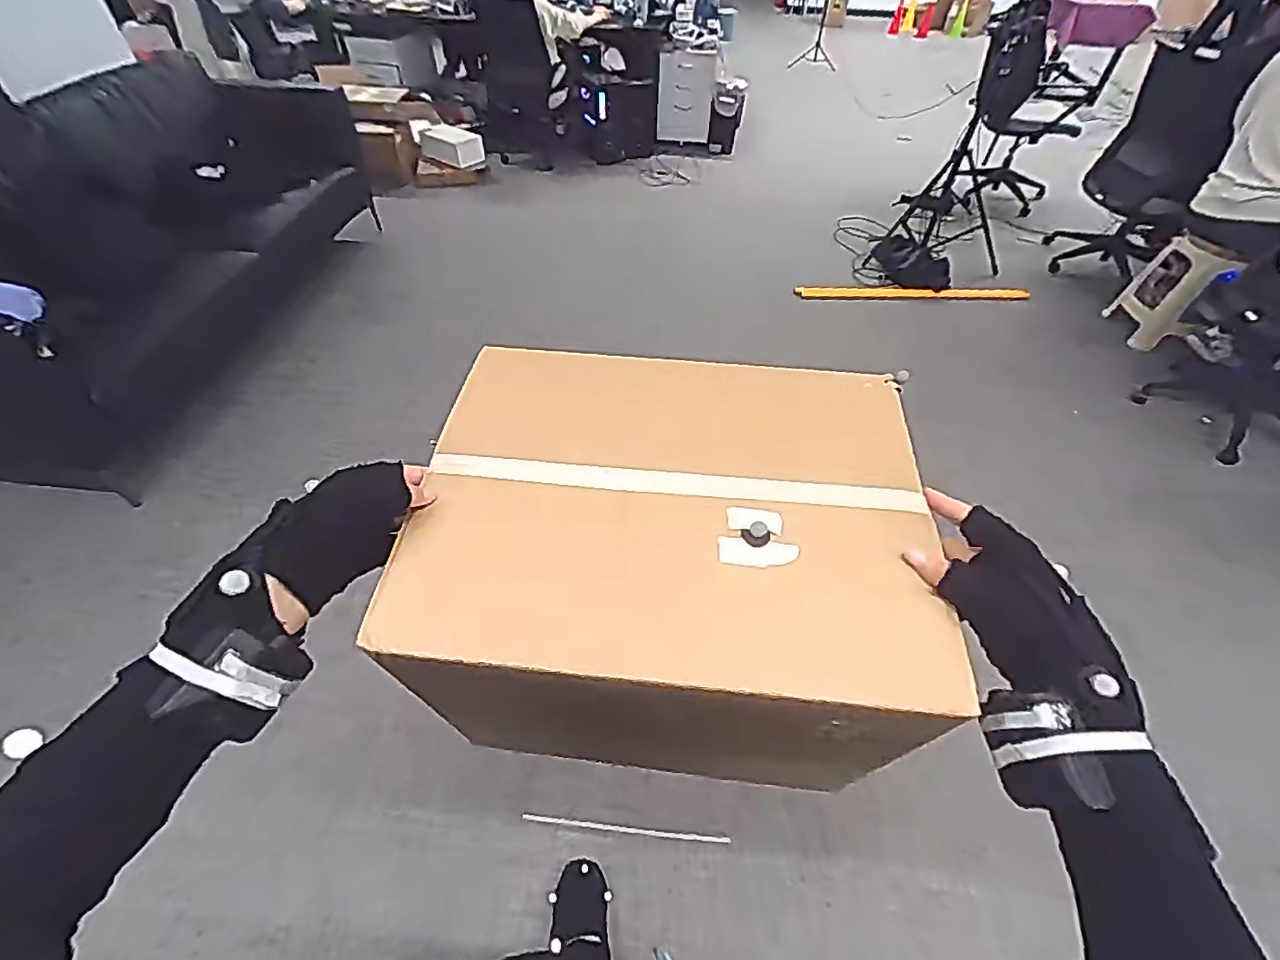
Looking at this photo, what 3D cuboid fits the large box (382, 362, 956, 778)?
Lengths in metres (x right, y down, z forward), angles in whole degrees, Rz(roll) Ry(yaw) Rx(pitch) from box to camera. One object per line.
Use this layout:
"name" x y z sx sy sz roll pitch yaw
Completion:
"large box" 0.027 0.101 0.574 0.408 0.320 0.320 5 53 4
